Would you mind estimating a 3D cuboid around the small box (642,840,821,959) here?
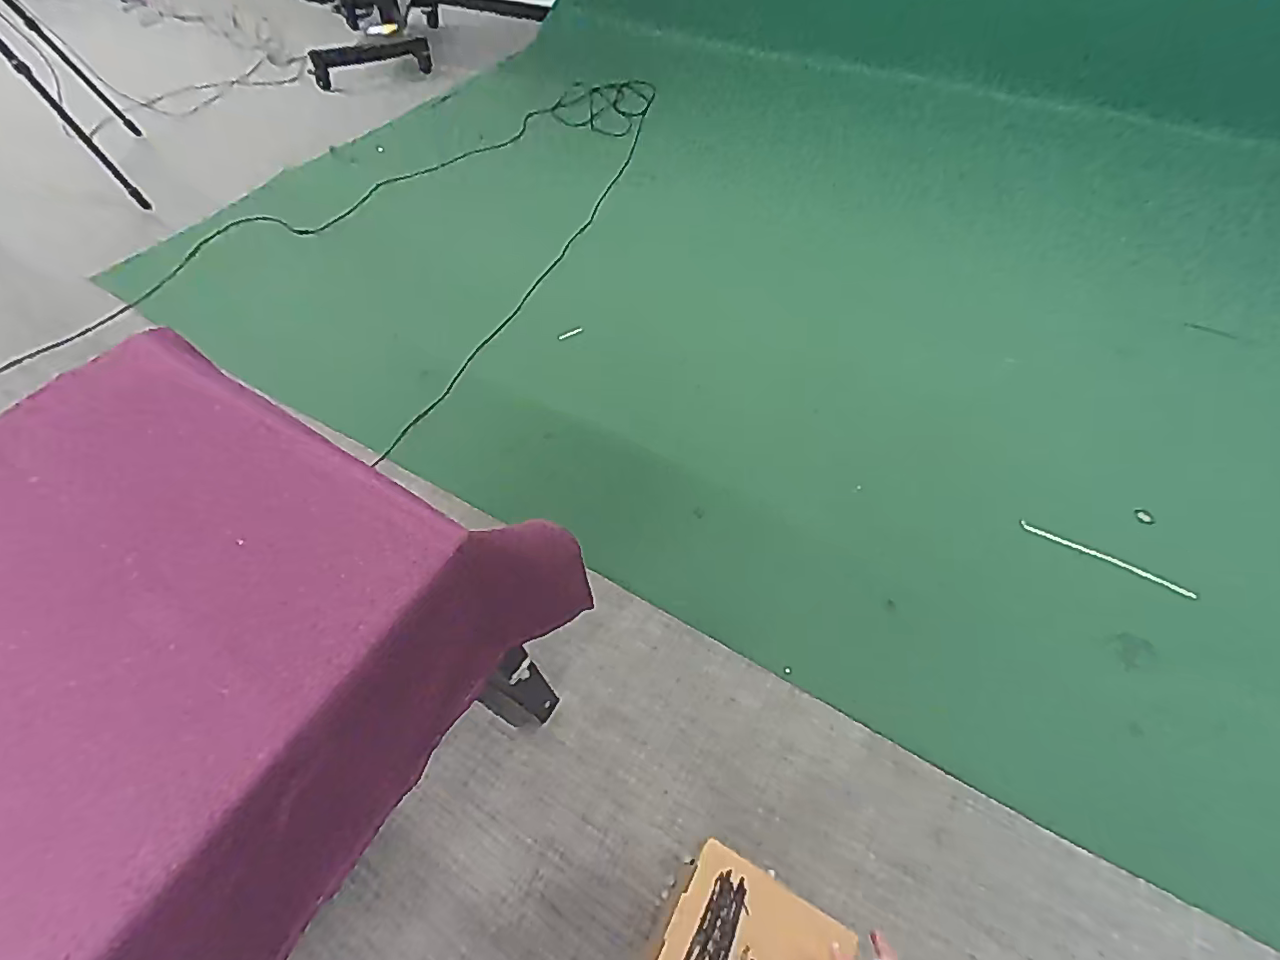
[{"bbox_3d":[0.118,0.629,0.741,0.179,0.176,0.168,26,59,19],"label":"small box"}]
